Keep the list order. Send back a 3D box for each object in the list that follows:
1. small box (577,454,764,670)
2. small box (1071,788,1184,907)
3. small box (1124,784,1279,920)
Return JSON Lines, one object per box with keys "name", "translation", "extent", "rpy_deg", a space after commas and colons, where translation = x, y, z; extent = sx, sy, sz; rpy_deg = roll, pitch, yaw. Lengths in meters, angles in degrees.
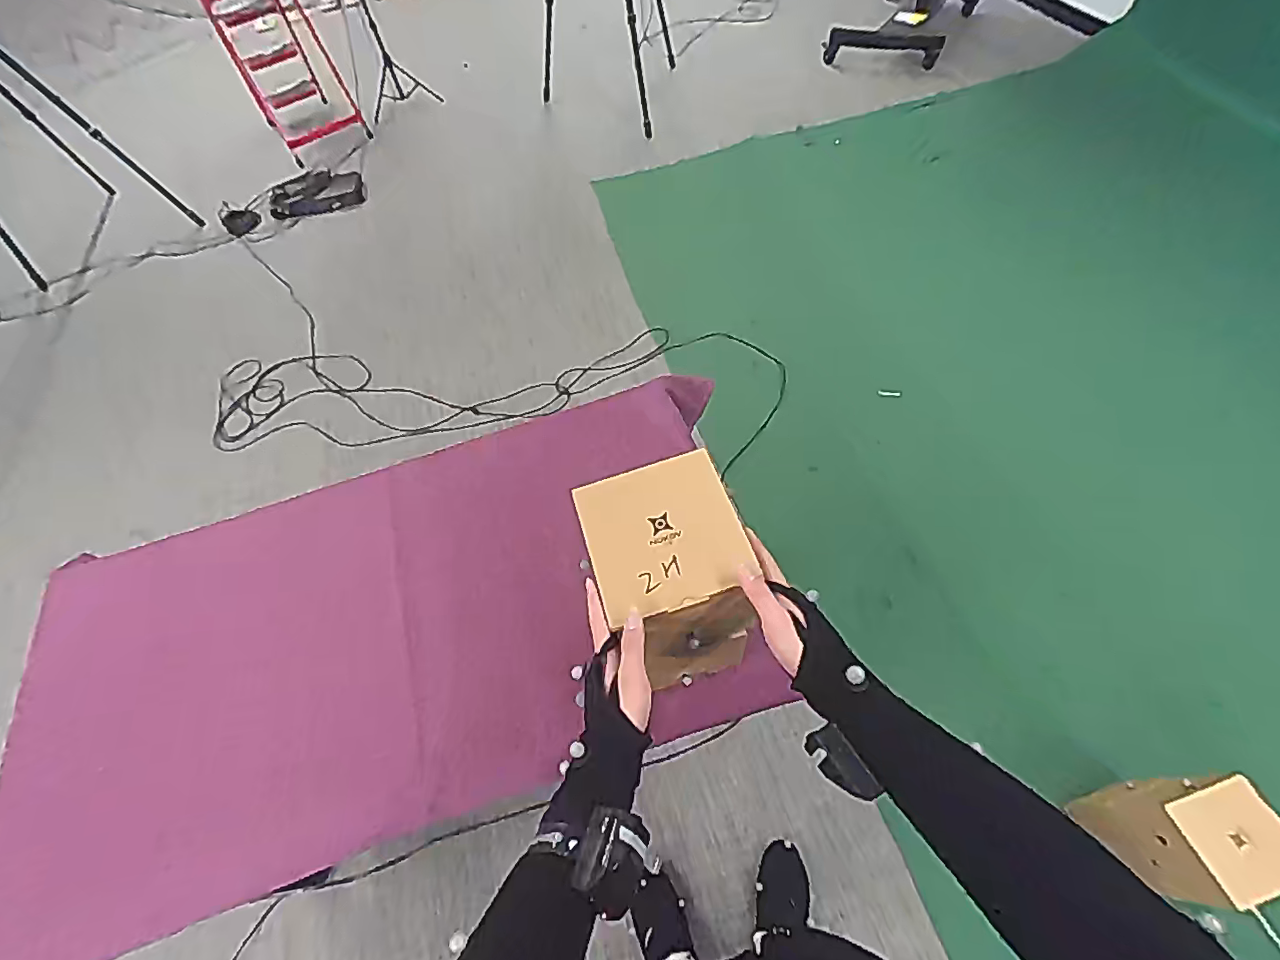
{"name": "small box", "translation": [0.034, 0.103, 0.649], "extent": [0.168, 0.176, 0.179], "rpy_deg": [-18, 57, -3]}
{"name": "small box", "translation": [1.099, 0.782, 1.165], "extent": [0.179, 0.176, 0.168], "rpy_deg": [-18, 58, -4]}
{"name": "small box", "translation": [1.085, 0.700, 1.027], "extent": [0.179, 0.176, 0.168], "rpy_deg": [-17, 57, -6]}
